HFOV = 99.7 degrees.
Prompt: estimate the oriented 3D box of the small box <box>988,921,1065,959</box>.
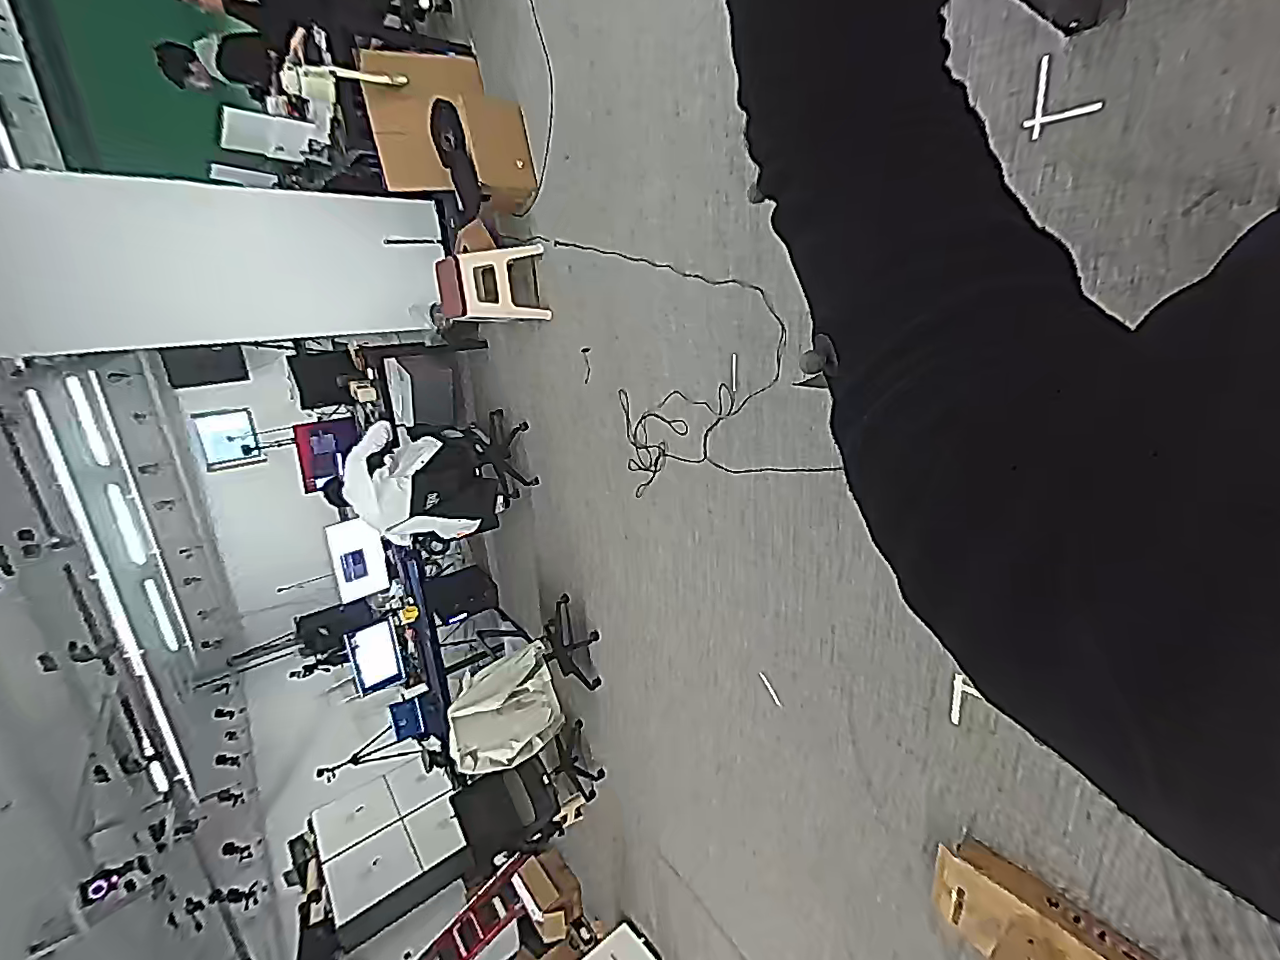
[{"bbox_3d":[1.058,1.371,1.471,0.168,0.176,0.179,16,116,50],"label":"small box"}]
